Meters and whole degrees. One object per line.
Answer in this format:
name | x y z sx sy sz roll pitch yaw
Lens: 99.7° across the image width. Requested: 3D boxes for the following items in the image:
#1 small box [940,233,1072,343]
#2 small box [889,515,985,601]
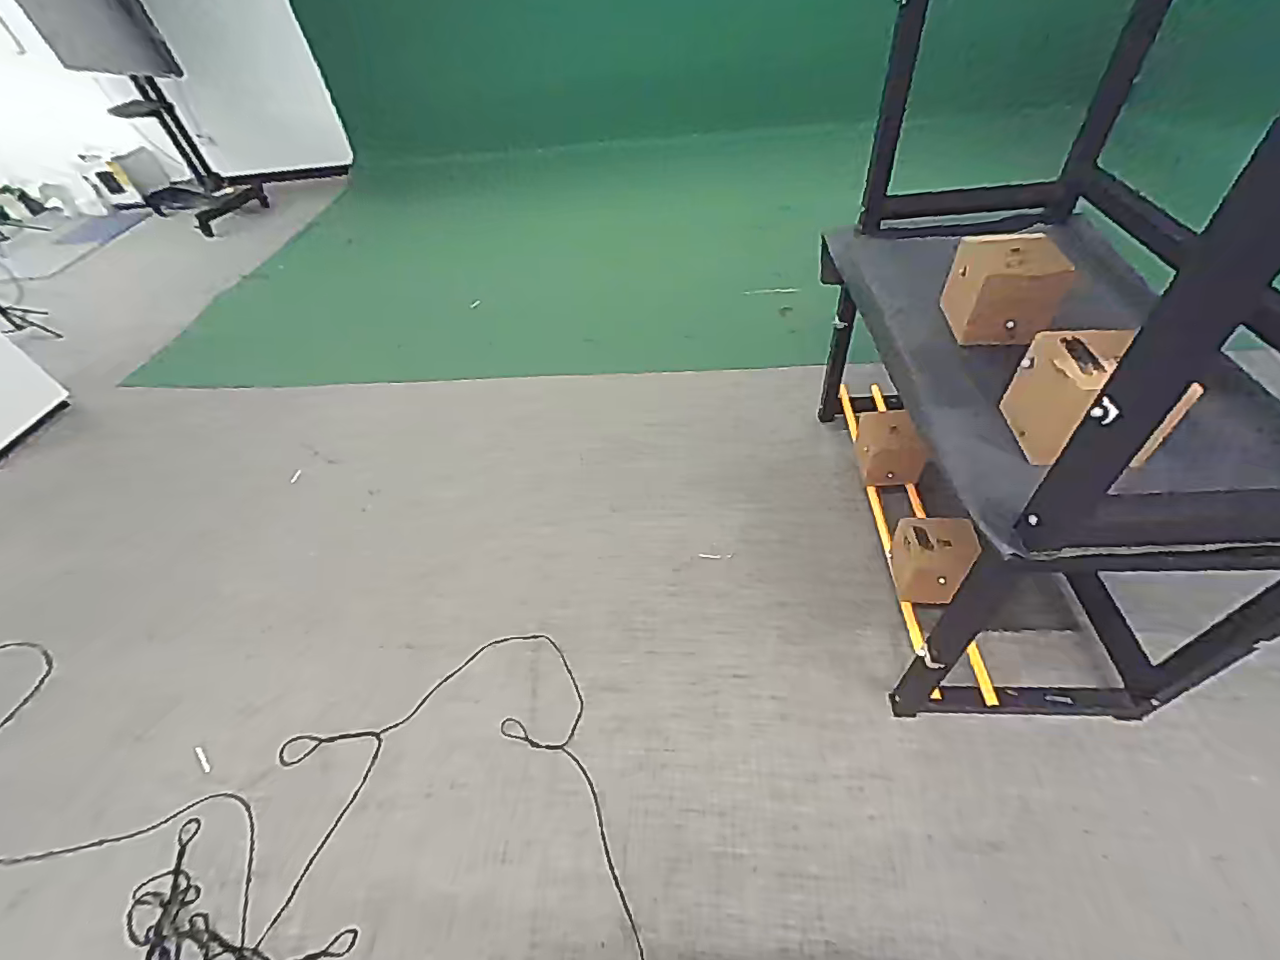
small box | 0.787 -0.421 1.189 0.168 0.176 0.179 1 48 8
small box | 0.788 0.212 1.458 0.179 0.176 0.168 1 48 9
